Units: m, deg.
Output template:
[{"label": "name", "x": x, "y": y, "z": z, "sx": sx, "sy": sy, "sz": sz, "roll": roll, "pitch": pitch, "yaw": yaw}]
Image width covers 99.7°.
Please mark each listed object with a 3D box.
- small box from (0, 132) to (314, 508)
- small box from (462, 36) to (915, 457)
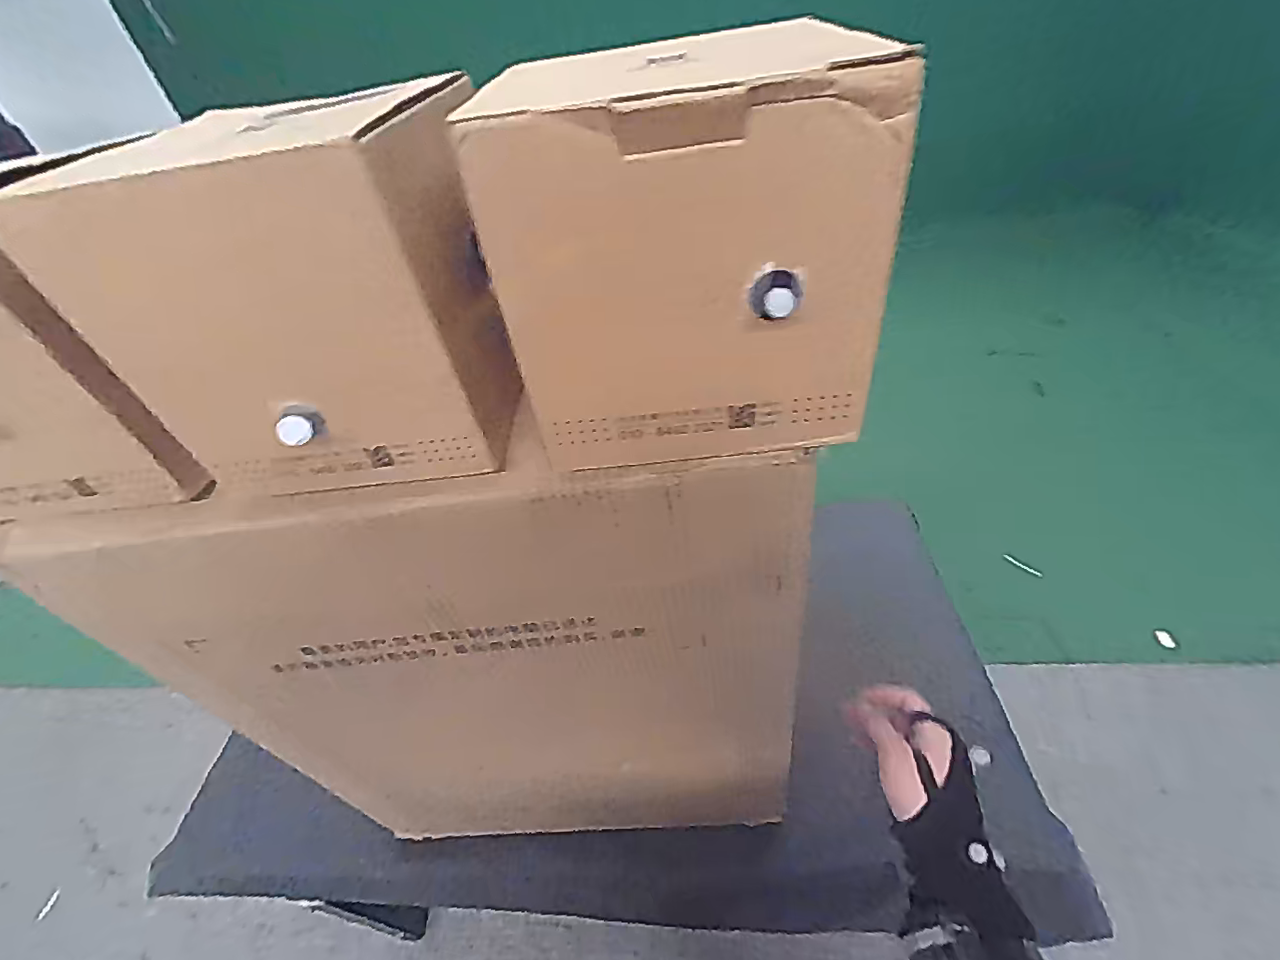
[{"label": "small box", "x": -0.356, "y": -0.095, "z": 0.348, "sx": 0.168, "sy": 0.176, "sz": 0.179, "roll": -6, "pitch": 43, "yaw": 7}, {"label": "small box", "x": 0.023, "y": -0.124, "z": 0.303, "sx": 0.168, "sy": 0.176, "sz": 0.179, "roll": -4, "pitch": 42, "yaw": 3}]
